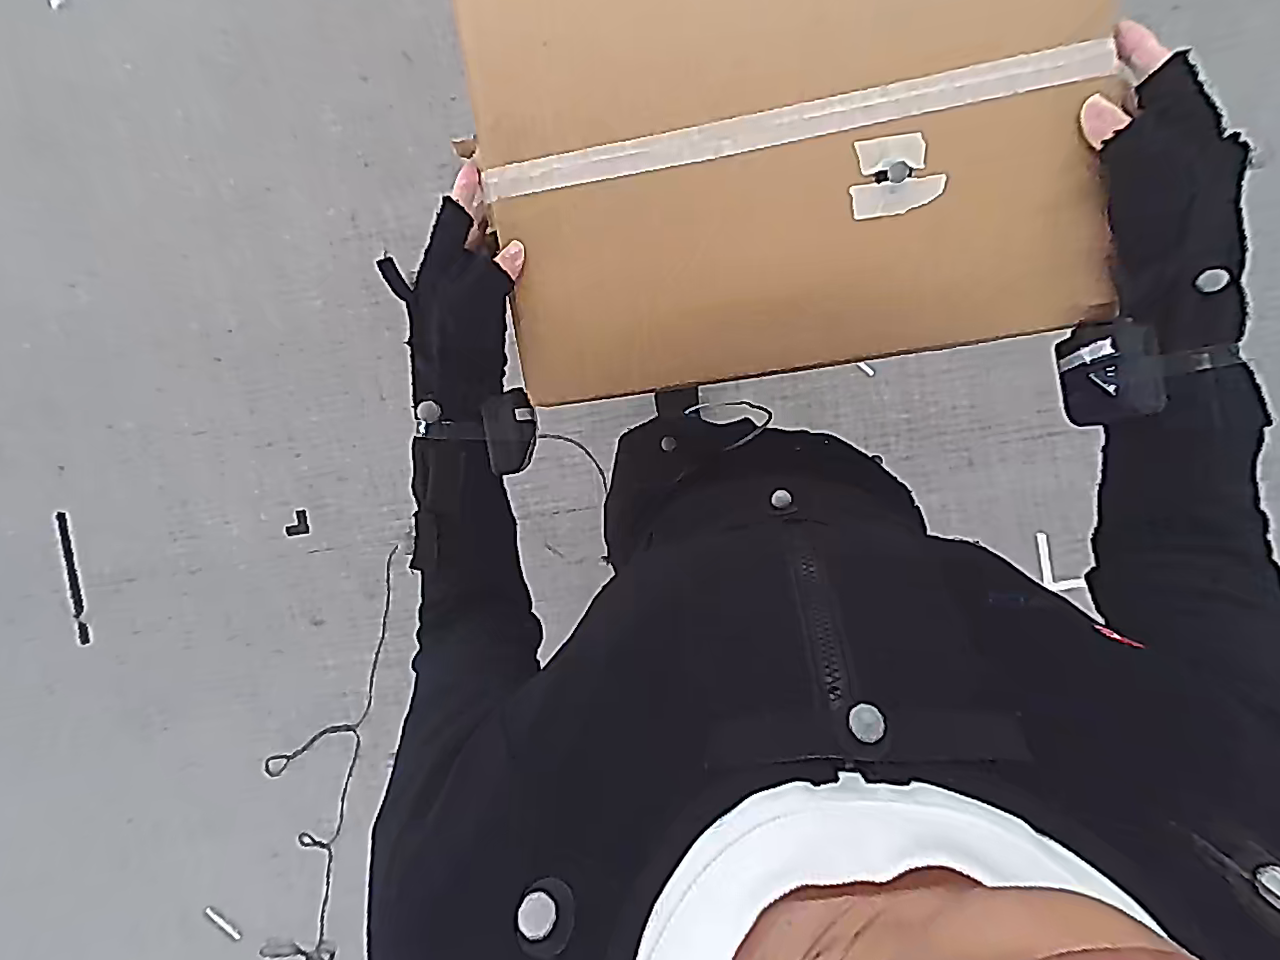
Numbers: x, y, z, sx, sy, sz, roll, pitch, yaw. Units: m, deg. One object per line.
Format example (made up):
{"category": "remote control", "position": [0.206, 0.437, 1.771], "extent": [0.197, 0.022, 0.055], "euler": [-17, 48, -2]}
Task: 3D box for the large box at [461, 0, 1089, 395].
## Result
{"category": "large box", "position": [0.101, -0.268, 0.515], "extent": [0.408, 0.320, 0.320], "euler": [-8, 100, 6]}
